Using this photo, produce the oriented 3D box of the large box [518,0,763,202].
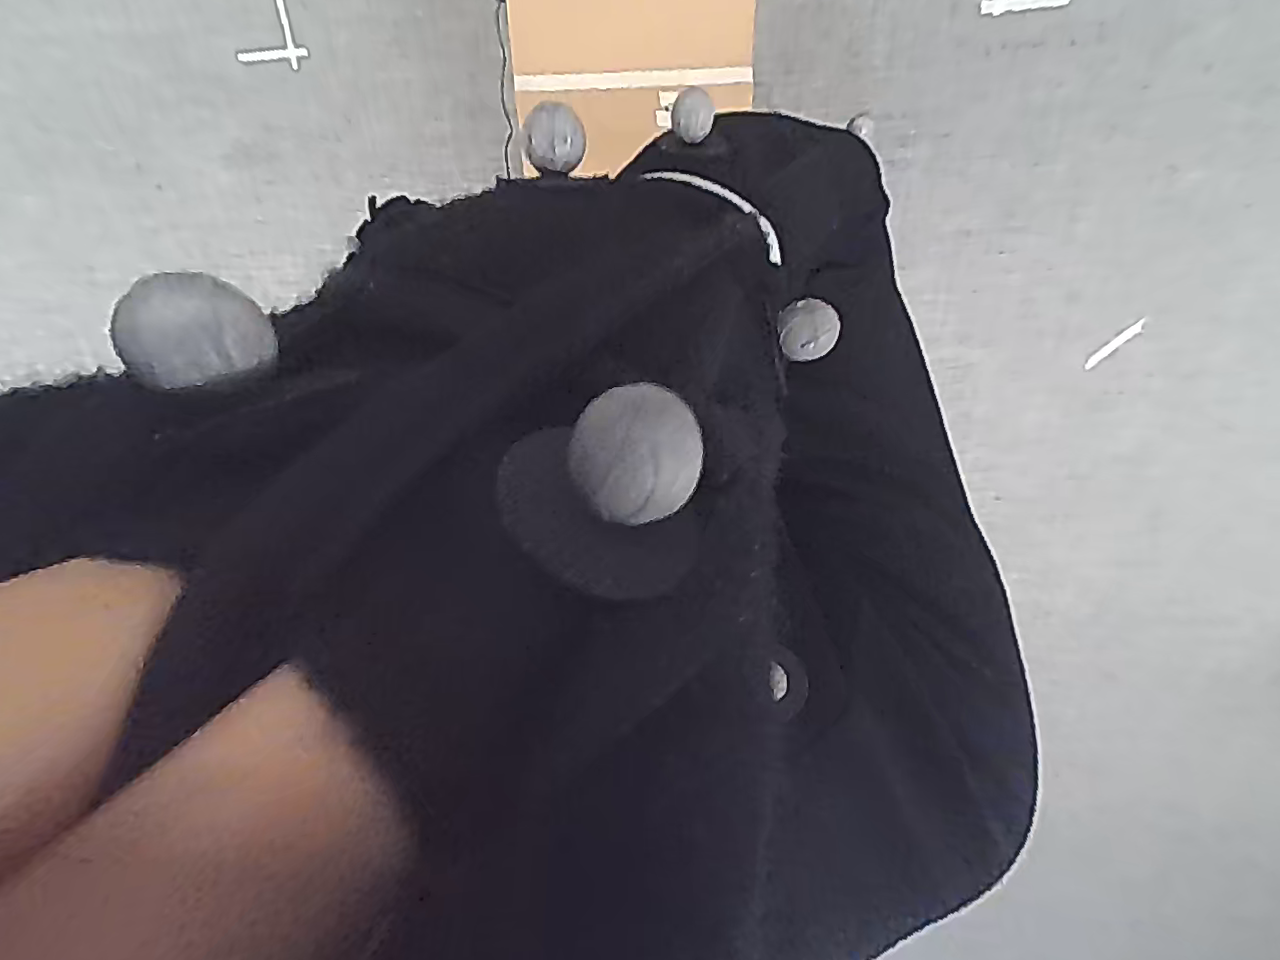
[{"bbox_3d":[0.000,-0.734,1.059,0.408,0.320,0.320,-1,115,0],"label":"large box"}]
